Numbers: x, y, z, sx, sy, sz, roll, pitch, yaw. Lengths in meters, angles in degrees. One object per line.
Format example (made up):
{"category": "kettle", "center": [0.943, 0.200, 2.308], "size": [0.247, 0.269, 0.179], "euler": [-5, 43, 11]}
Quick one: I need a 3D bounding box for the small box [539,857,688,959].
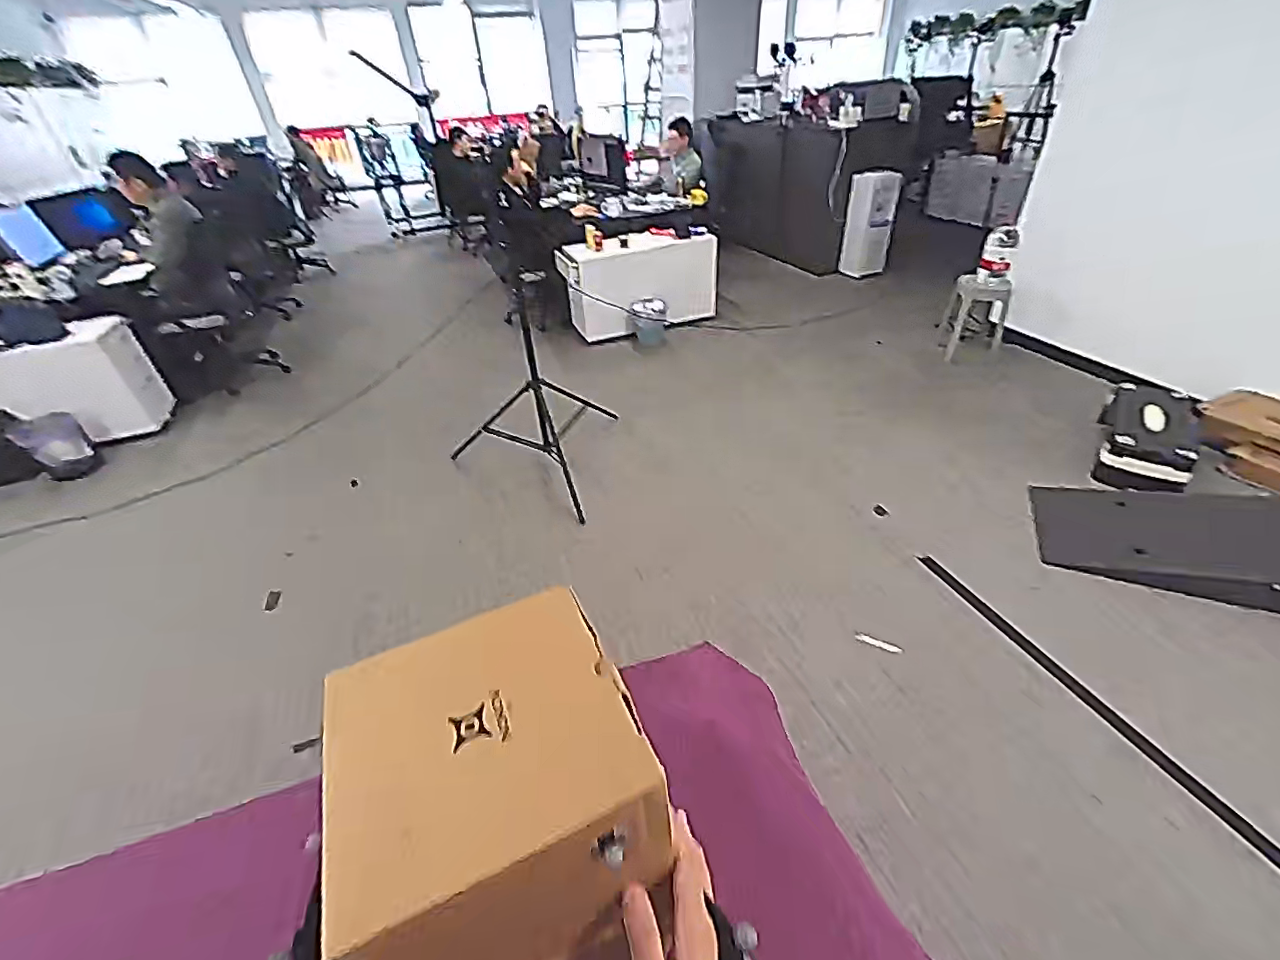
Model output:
{"category": "small box", "center": [-0.073, 0.345, 0.466], "size": [0.179, 0.176, 0.168], "euler": [-19, 38, -18]}

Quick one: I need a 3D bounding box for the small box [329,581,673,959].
{"category": "small box", "center": [-0.089, 0.209, 0.376], "size": [0.179, 0.176, 0.168], "euler": [-19, 38, -18]}
